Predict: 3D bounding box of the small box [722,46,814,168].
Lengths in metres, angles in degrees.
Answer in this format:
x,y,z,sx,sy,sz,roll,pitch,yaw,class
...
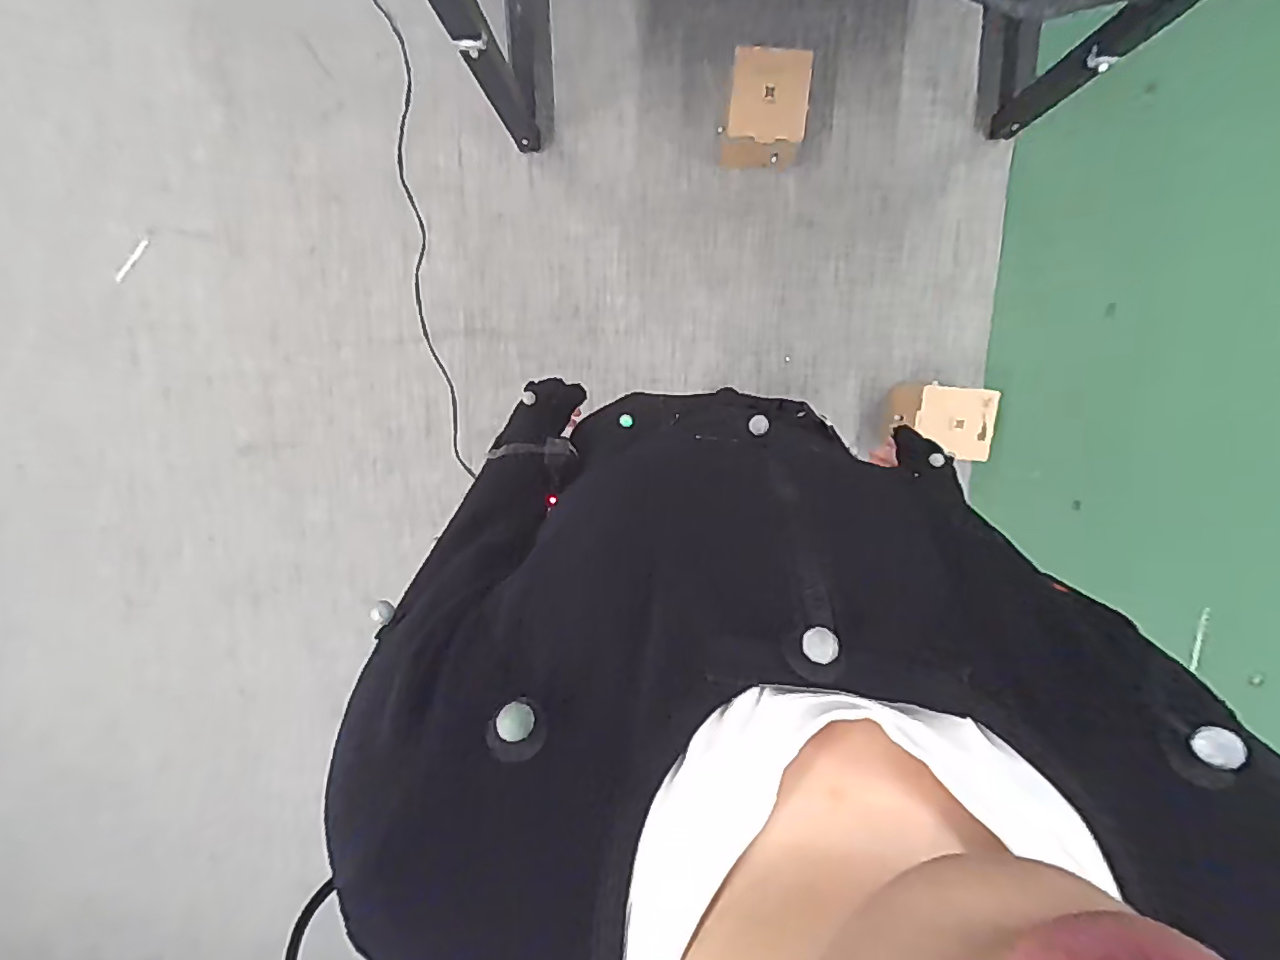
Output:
x,y,z,sx,sy,sz,roll,pitch,yaw,class
0.281,-0.834,1.227,0.168,0.176,0.179,4,99,1,small box

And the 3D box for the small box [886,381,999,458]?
x,y,z,sx,sy,sz,roll,pitch,yaw,class
0.731,-0.152,1.329,0.179,0.176,0.168,6,100,2,small box
